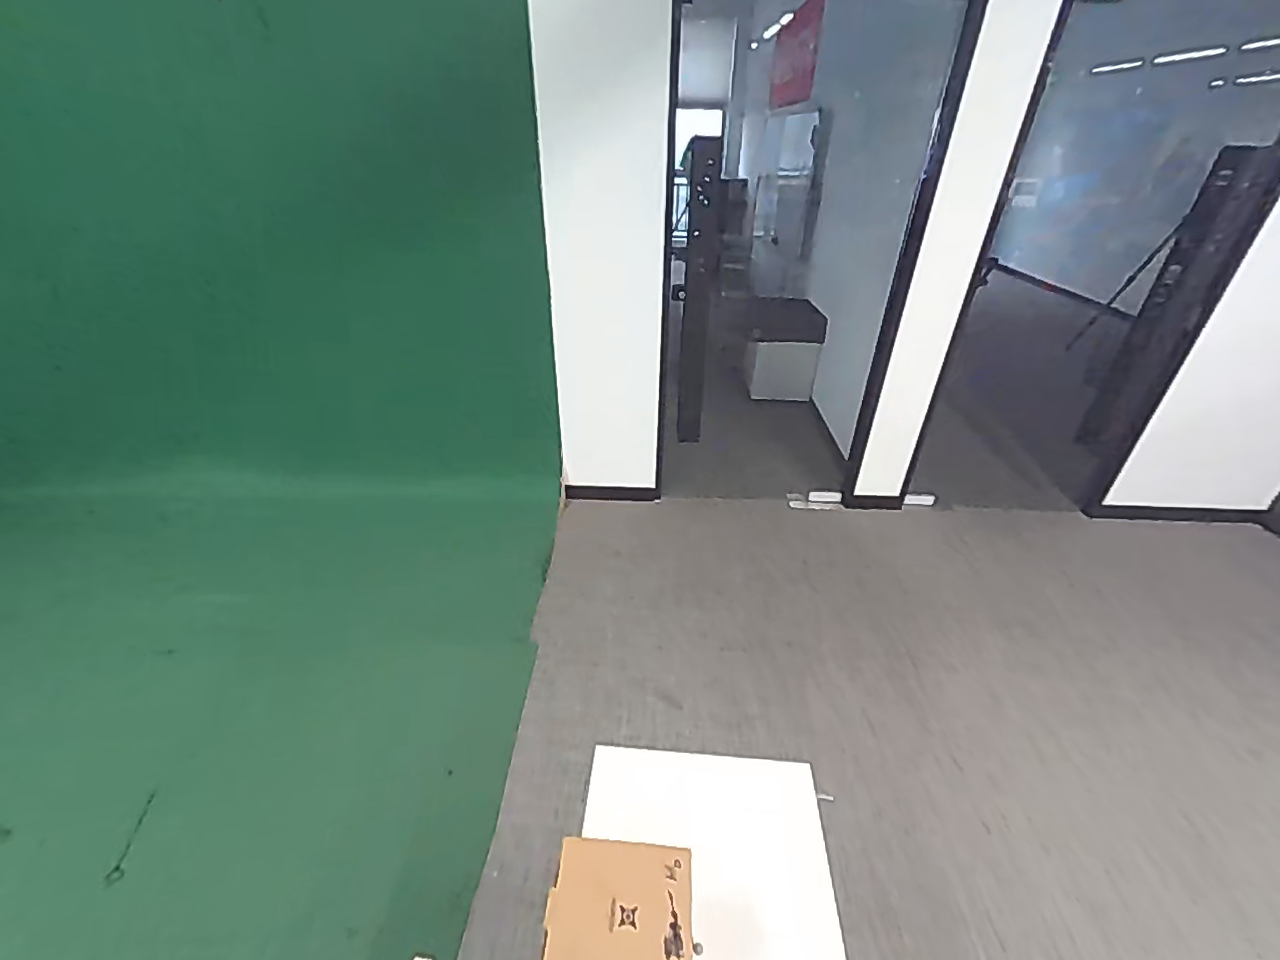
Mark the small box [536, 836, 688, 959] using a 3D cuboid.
[{"bbox_3d":[-0.031,0.597,0.700,0.179,0.176,0.168,4,33,3],"label":"small box"}]
